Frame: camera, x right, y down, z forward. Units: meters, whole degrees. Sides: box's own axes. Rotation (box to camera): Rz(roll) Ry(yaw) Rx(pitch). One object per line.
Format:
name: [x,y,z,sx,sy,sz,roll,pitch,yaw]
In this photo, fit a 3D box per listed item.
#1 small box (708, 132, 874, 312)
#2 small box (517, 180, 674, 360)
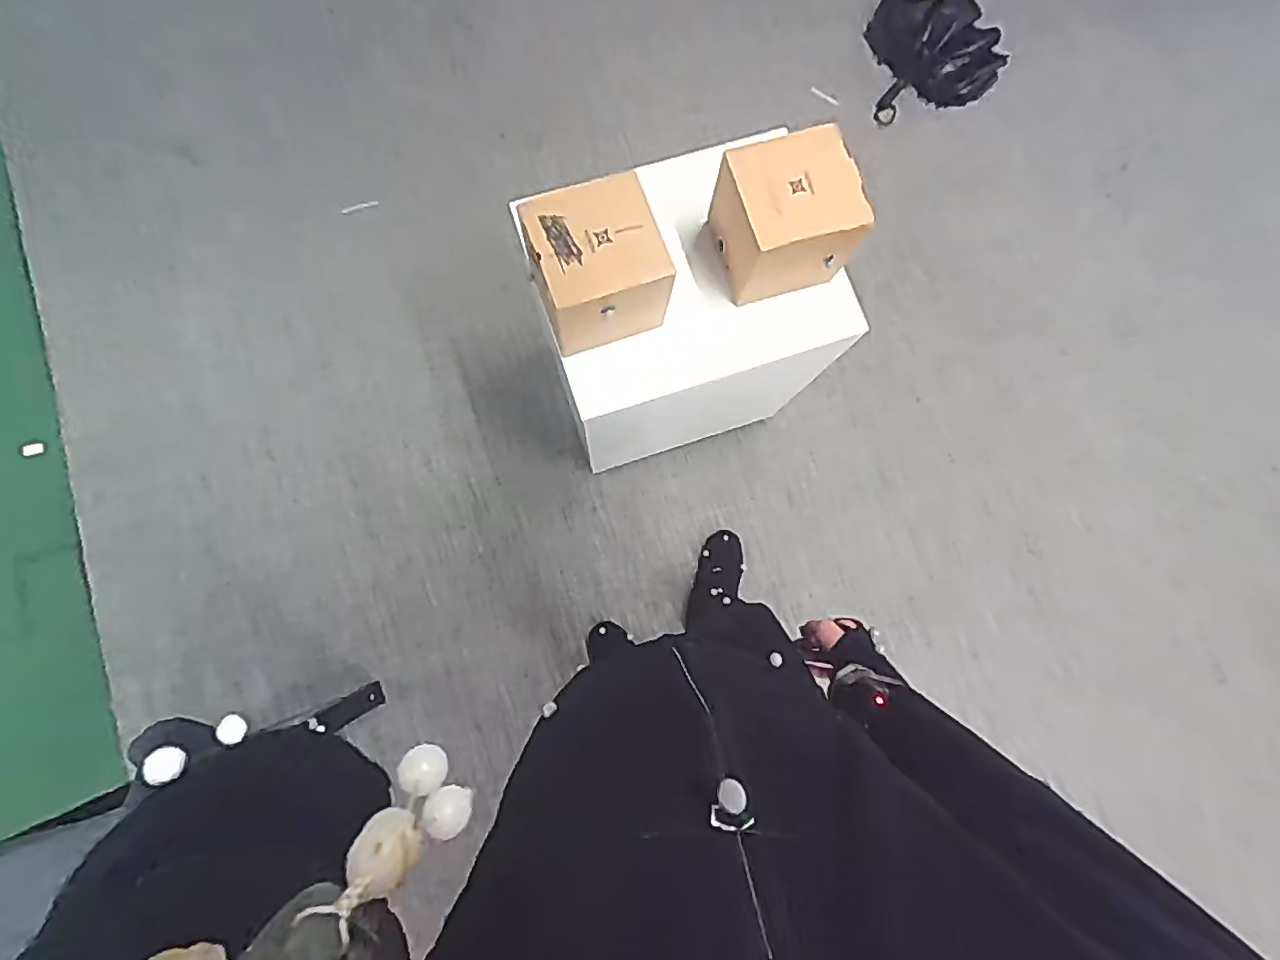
small box: [0.220,-0.387,0.836,0.179,0.176,0.168,-16,81,-4]
small box: [-0.064,-0.301,0.807,0.179,0.176,0.168,-20,83,-7]
